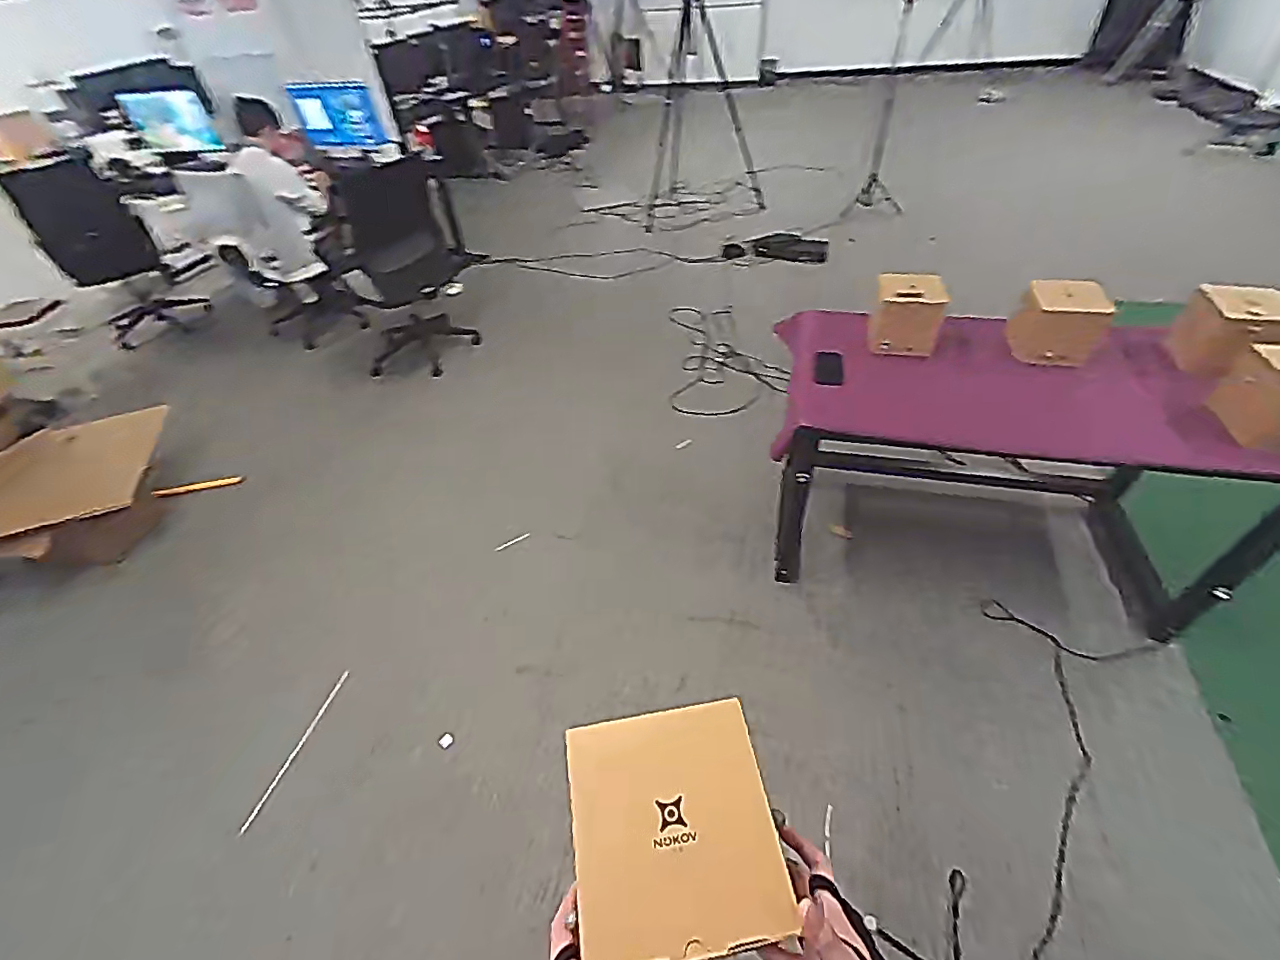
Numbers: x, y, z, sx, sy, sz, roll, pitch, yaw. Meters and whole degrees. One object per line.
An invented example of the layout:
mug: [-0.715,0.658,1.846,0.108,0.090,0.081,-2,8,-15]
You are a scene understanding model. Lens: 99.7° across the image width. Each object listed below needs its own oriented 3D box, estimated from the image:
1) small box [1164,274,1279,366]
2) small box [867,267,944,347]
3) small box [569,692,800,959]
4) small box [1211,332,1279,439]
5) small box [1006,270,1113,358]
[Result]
small box: [1.511,-0.409,1.386,0.168,0.176,0.179,7,46,15]
small box: [0.764,-0.501,1.571,0.168,0.176,0.179,6,46,13]
small box: [0.028,0.326,0.508,0.168,0.176,0.179,-8,50,-5]
small box: [1.431,-0.204,1.185,0.168,0.176,0.179,5,46,14]
small box: [1.135,-0.456,1.483,0.168,0.176,0.179,7,47,15]
